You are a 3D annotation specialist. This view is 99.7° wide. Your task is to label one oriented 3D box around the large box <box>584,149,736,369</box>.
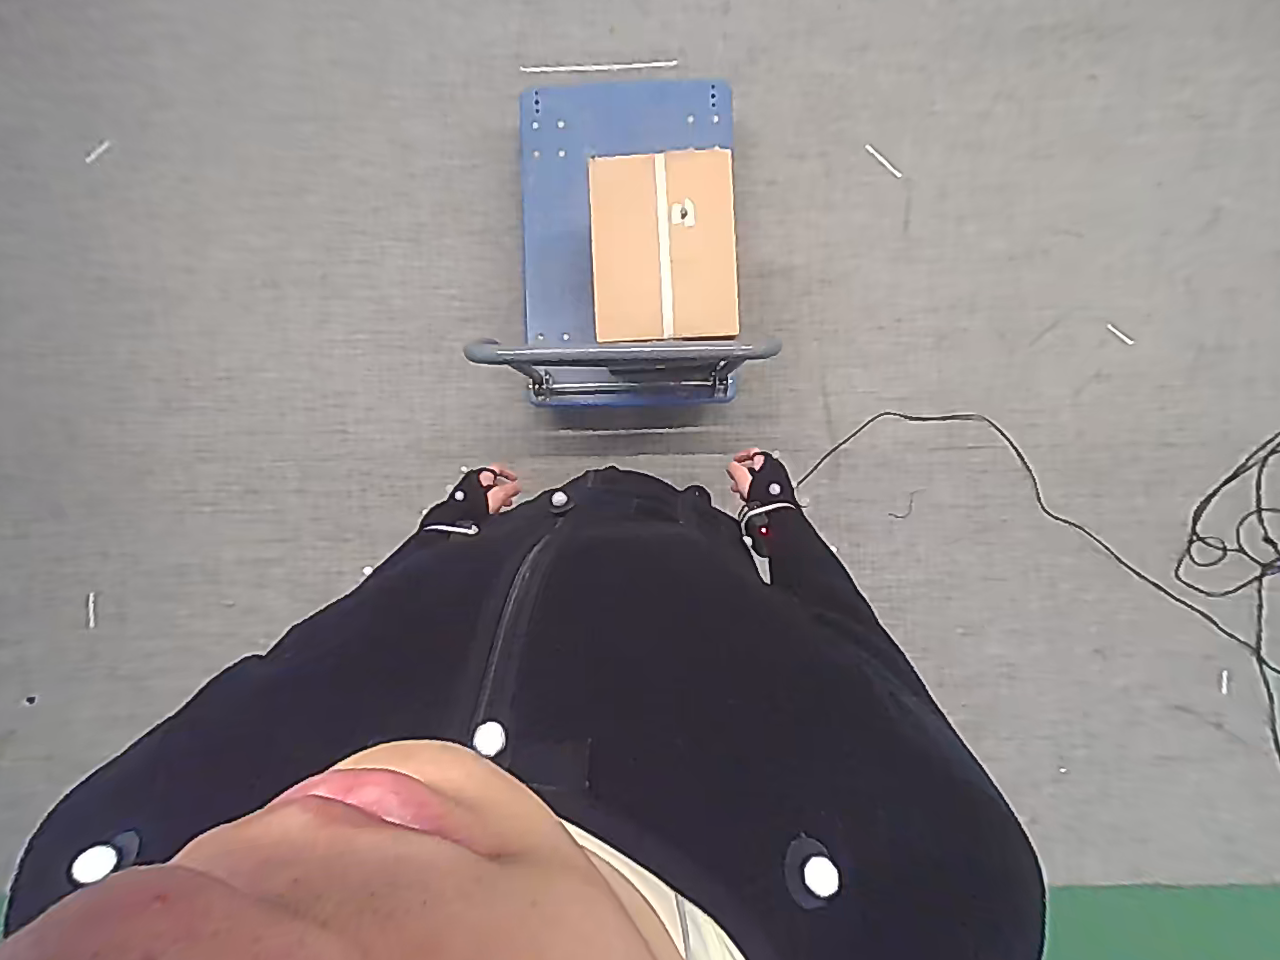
[{"bbox_3d":[0.046,-0.506,1.313,0.320,0.320,0.408,-3,90,0],"label":"large box"}]
